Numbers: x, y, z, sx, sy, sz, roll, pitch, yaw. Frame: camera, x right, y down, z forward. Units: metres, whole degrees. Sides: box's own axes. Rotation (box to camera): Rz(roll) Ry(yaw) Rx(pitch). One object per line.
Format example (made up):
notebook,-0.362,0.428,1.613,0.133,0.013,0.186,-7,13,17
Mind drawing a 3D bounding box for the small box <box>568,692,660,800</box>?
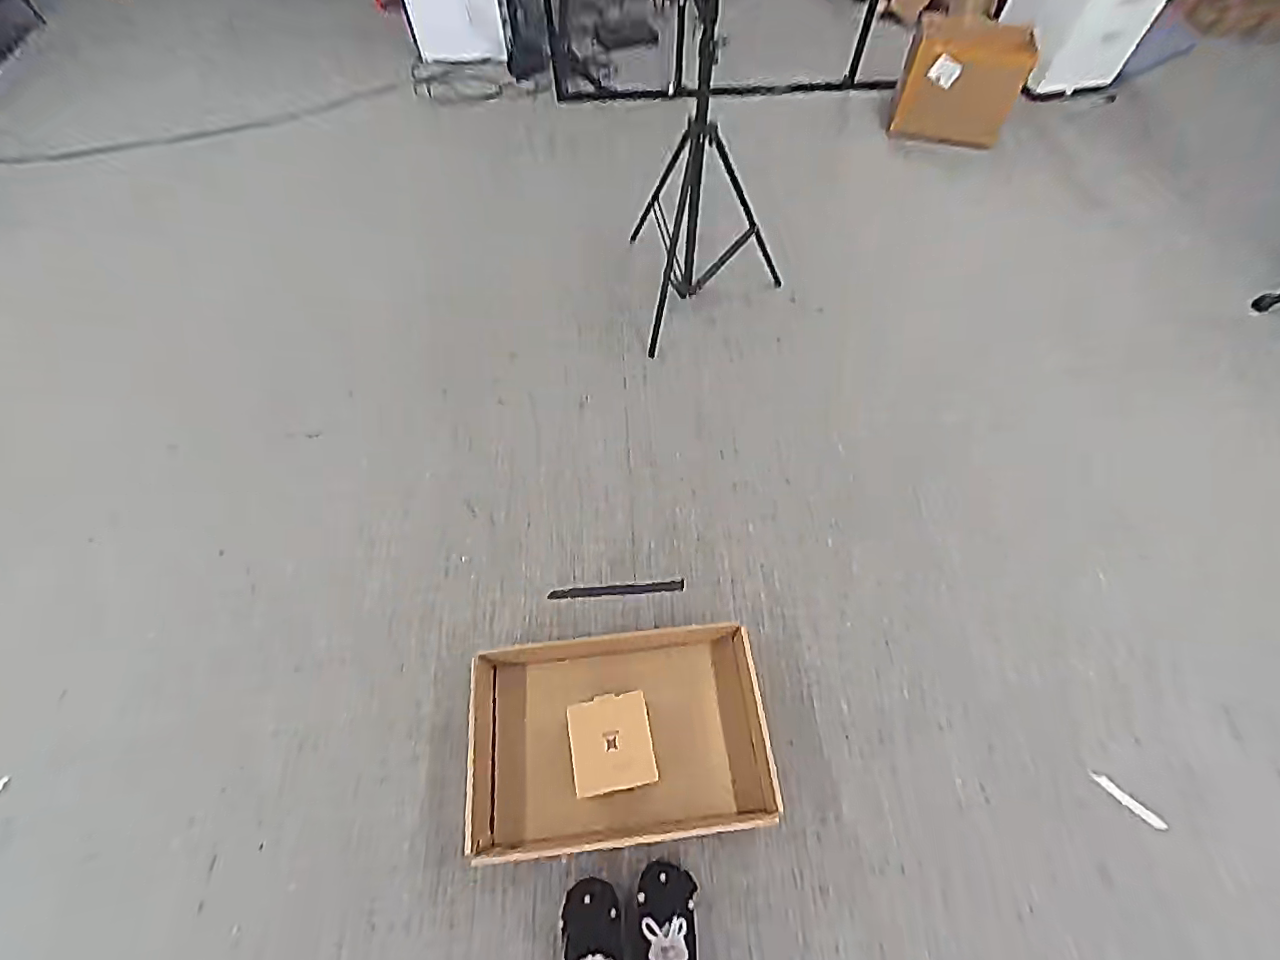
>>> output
small box,-0.057,0.575,1.166,0.168,0.176,0.179,-11,62,-5
